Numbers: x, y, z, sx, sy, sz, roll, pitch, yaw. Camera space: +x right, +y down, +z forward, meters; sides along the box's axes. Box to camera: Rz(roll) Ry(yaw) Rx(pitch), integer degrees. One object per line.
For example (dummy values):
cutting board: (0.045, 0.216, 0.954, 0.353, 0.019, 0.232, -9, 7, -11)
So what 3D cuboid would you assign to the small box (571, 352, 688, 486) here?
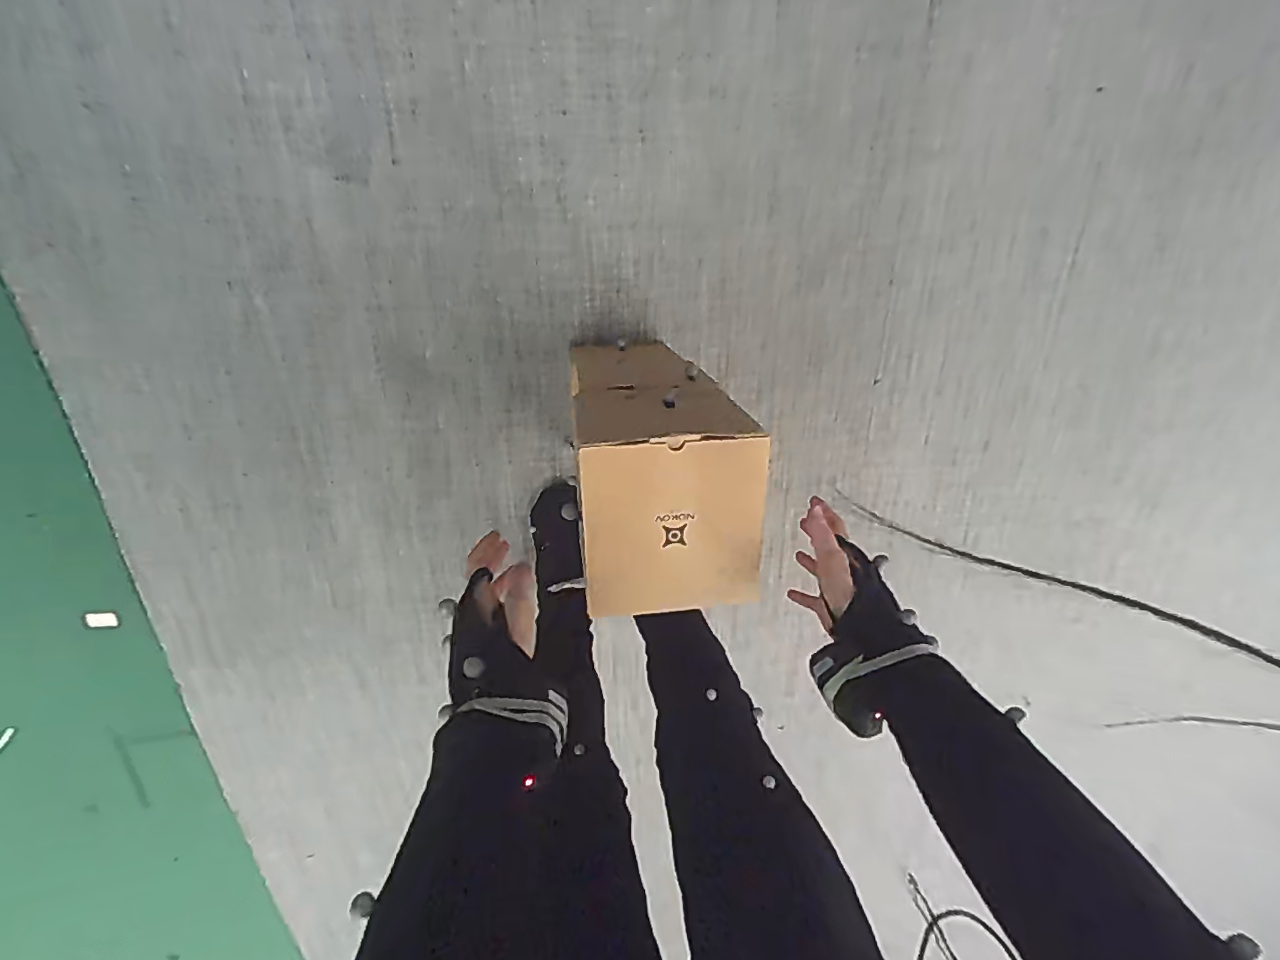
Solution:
small box: (-0.023, -0.100, 0.857, 0.168, 0.176, 0.179, -3, 113, -7)

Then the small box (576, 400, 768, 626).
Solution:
small box: (0.021, 0.025, 0.559, 0.168, 0.176, 0.179, -4, 113, -6)
